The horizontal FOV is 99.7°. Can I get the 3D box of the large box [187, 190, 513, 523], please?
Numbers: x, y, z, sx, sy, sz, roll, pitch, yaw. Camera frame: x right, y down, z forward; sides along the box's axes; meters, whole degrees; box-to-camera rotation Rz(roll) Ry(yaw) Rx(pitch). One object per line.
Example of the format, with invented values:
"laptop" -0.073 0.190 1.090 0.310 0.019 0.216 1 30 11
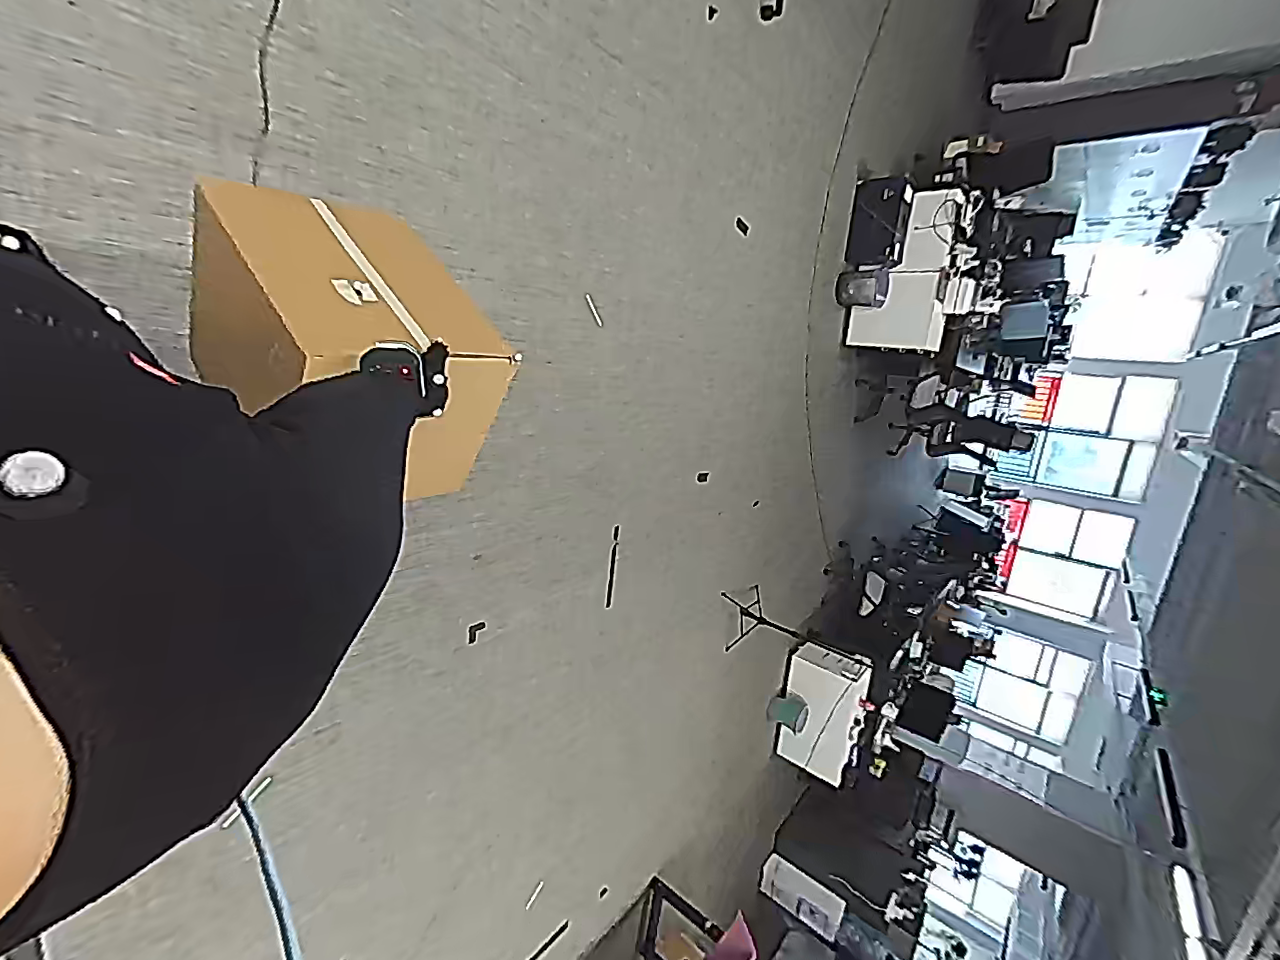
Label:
"large box" -0.495 -0.198 0.906 0.320 0.408 0.320 -16 150 -50
